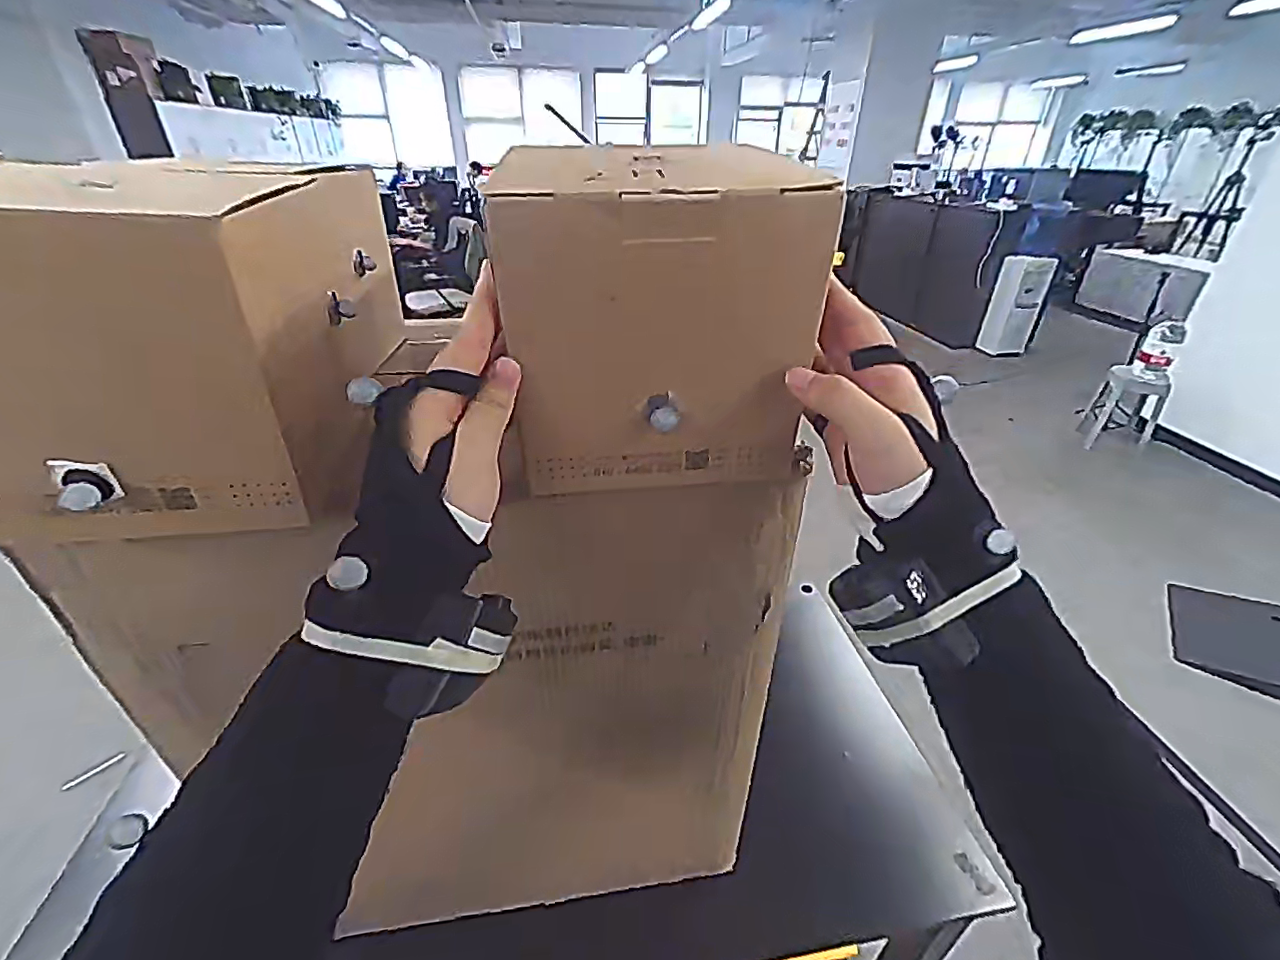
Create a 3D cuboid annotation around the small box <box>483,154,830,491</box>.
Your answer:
[{"bbox_3d":[0.001,-0.111,0.363,0.168,0.176,0.179,-4,38,-5],"label":"small box"}]
